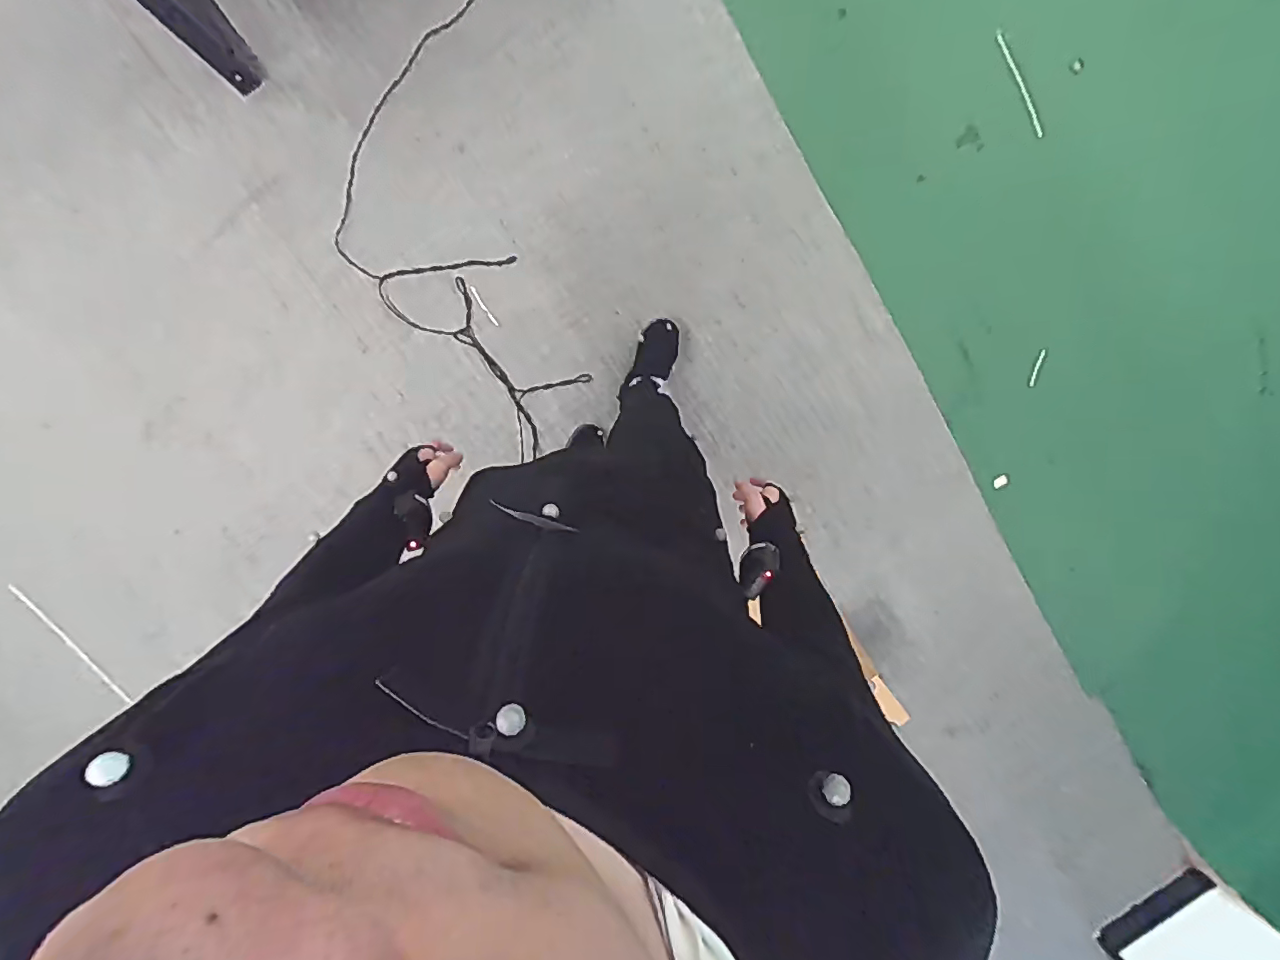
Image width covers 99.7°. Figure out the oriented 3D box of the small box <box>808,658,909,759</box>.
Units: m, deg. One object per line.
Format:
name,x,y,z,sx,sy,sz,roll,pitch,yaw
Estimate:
small box,0.608,0.632,1.528,0.168,0.176,0.179,-38,101,2
